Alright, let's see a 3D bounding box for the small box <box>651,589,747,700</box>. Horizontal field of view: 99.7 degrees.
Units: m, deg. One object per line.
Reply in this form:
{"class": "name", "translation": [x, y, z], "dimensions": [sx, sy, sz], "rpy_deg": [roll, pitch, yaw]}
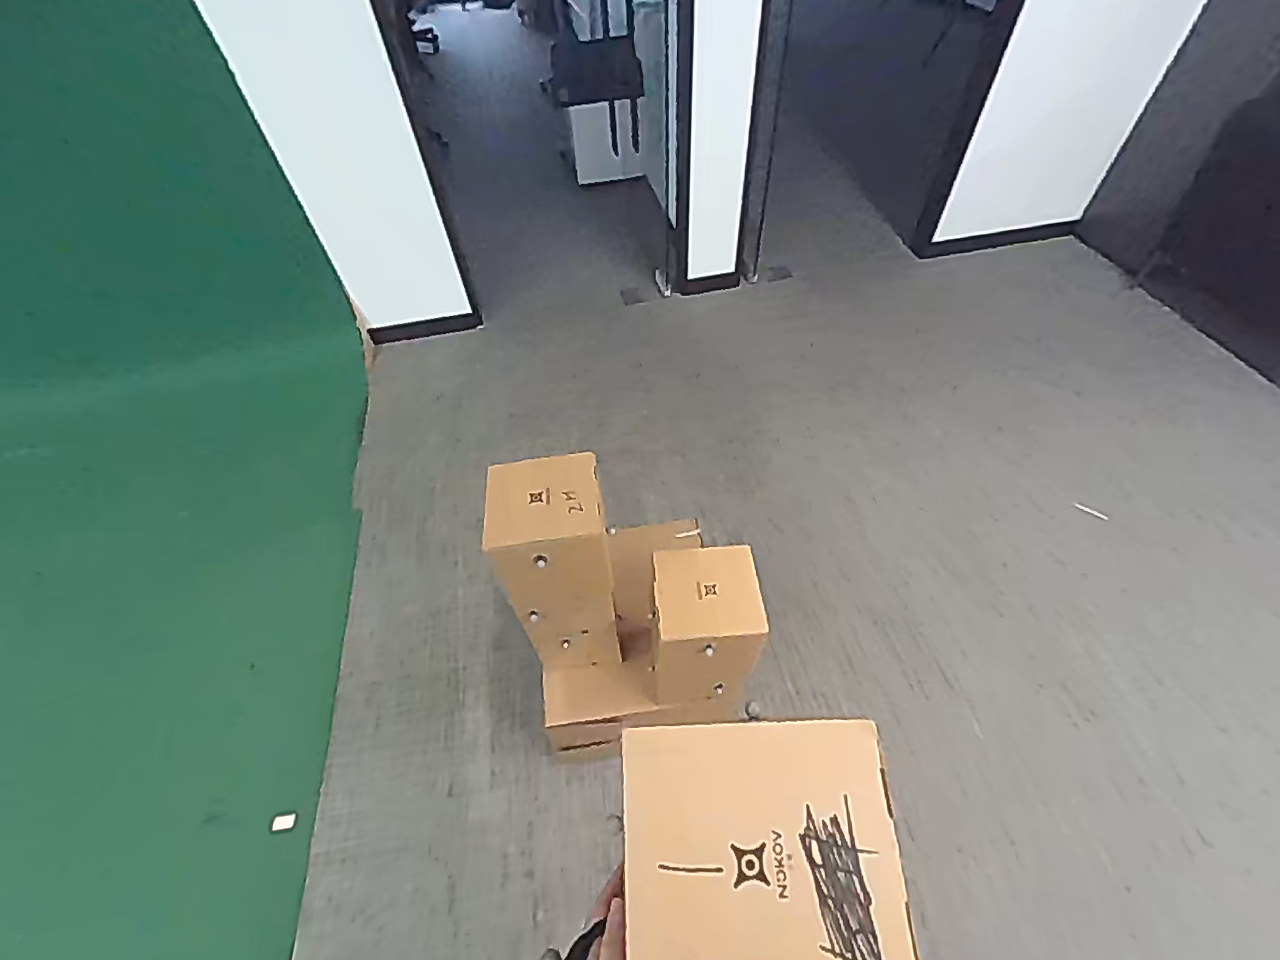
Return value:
{"class": "small box", "translation": [0.112, 0.329, 1.085], "dimensions": [0.168, 0.176, 0.179], "rpy_deg": [-4, 49, -2]}

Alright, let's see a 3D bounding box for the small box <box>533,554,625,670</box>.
{"class": "small box", "translation": [-0.124, 0.280, 1.143], "dimensions": [0.168, 0.176, 0.179], "rpy_deg": [-6, 49, 0]}

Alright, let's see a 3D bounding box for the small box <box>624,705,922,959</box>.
{"class": "small box", "translation": [0.077, 0.264, 0.412], "dimensions": [0.179, 0.176, 0.168], "rpy_deg": [-2, 67, -1]}

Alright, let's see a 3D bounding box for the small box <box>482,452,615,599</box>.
{"class": "small box", "translation": [-0.142, 0.079, 0.880], "dimensions": [0.179, 0.176, 0.168], "rpy_deg": [-8, 50, -1]}

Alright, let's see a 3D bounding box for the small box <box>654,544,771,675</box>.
{"class": "small box", "translation": [0.117, 0.231, 0.955], "dimensions": [0.179, 0.176, 0.168], "rpy_deg": [-4, 50, -1]}
